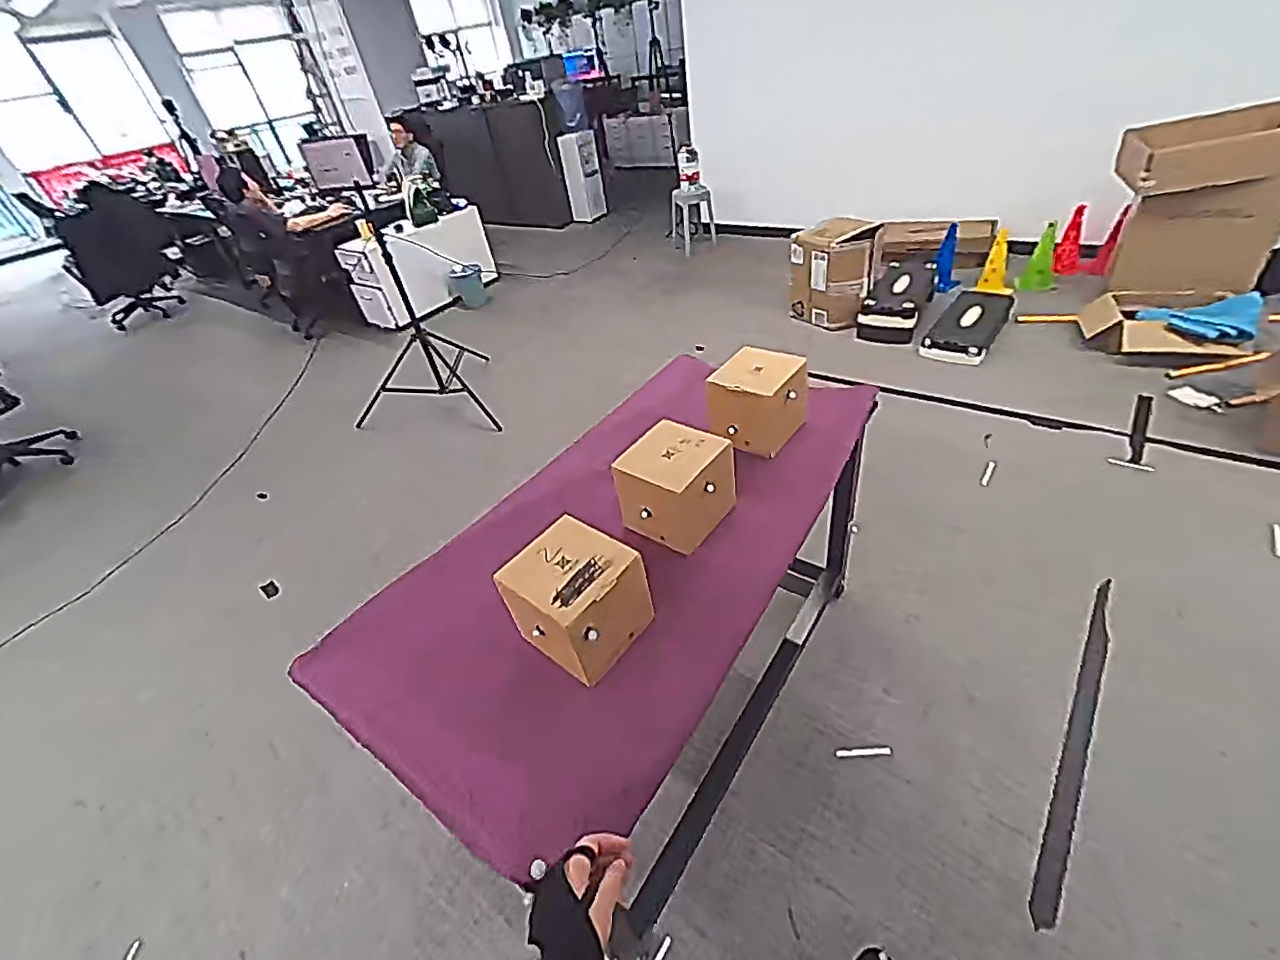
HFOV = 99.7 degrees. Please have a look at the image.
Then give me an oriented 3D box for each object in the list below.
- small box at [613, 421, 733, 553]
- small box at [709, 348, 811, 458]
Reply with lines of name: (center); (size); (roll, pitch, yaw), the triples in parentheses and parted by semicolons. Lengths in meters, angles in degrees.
small box: (0.075, 0.014, 1.073); (0.168, 0.176, 0.179); (23, 50, 34)
small box: (0.278, -0.180, 1.257); (0.168, 0.176, 0.179); (22, 51, 35)
